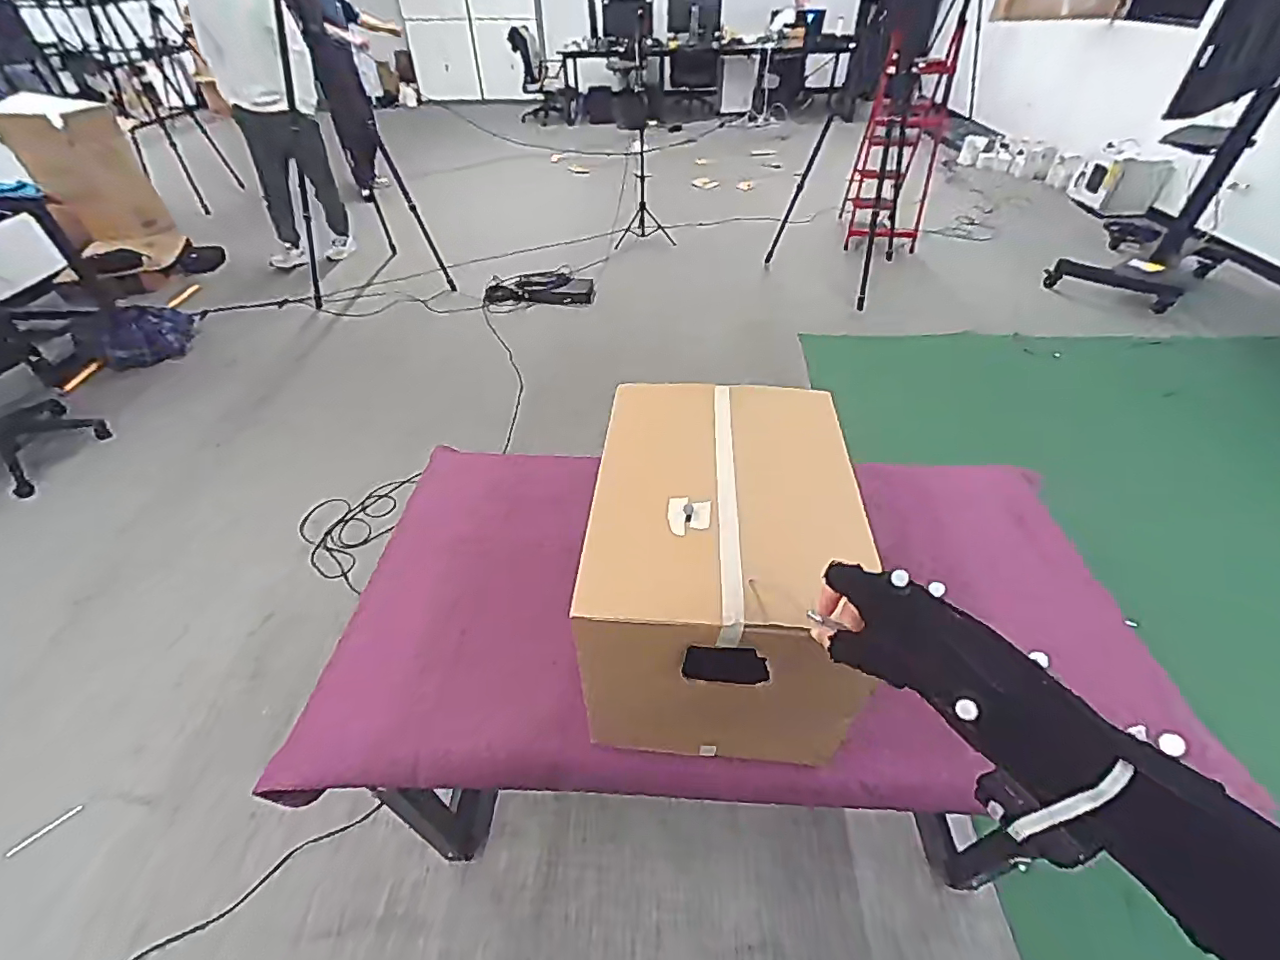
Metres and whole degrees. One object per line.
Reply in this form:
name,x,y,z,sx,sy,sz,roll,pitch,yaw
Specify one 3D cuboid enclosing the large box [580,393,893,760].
large box,0.105,0.122,0.769,0.320,0.320,0.408,3,44,4
